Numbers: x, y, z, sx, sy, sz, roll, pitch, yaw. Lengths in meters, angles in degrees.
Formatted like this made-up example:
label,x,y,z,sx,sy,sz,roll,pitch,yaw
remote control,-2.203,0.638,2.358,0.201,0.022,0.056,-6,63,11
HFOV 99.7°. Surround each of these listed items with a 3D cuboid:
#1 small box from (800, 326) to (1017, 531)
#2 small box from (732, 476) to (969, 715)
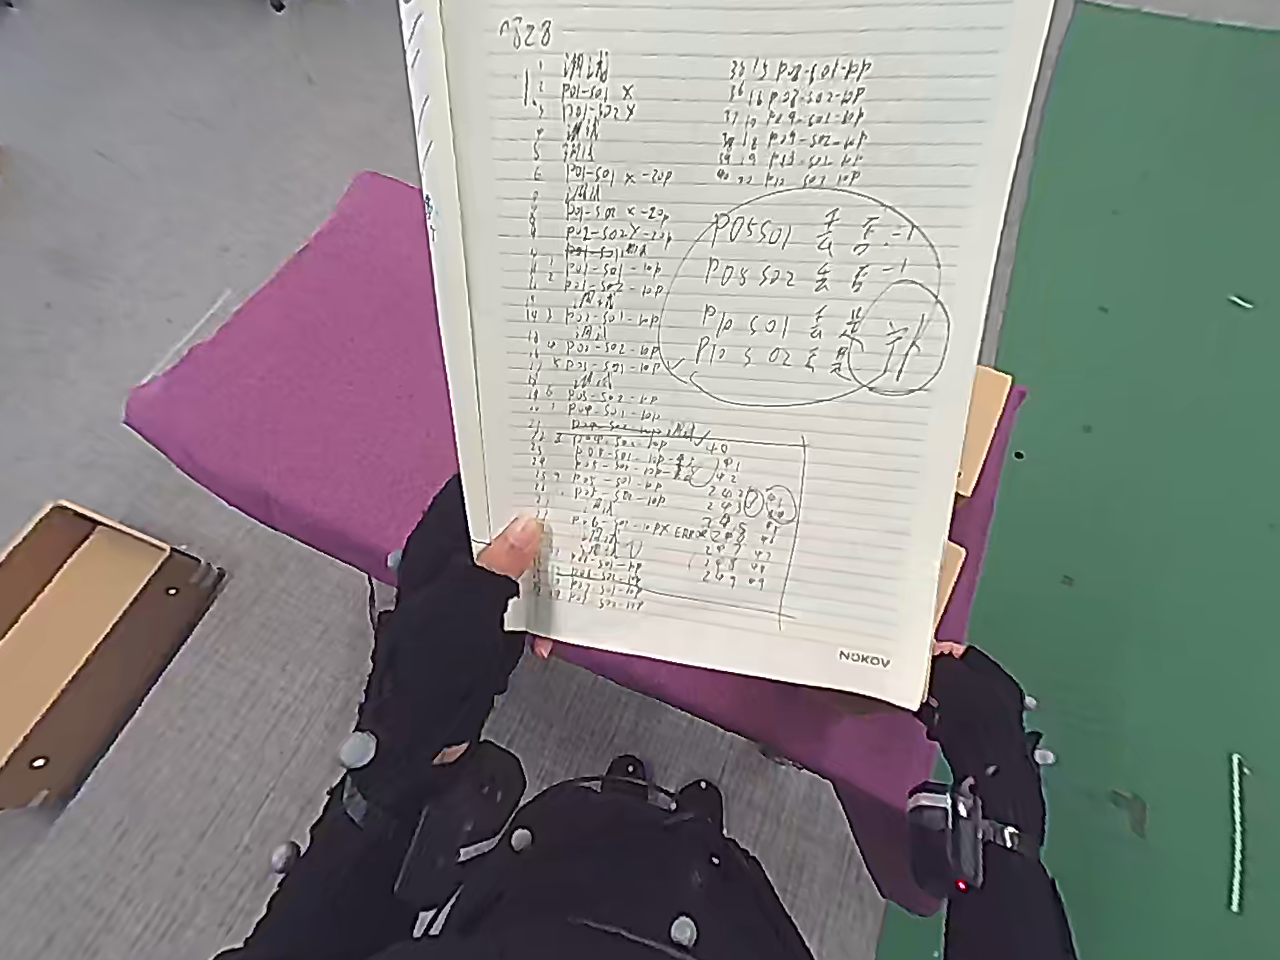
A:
label,x,y,z,sx,sy,sz,roll,pitch,yaw
small box,0.318,-0.049,0.673,0.168,0.176,0.179,27,68,15
small box,0.213,0.133,0.592,0.168,0.176,0.179,30,69,16
